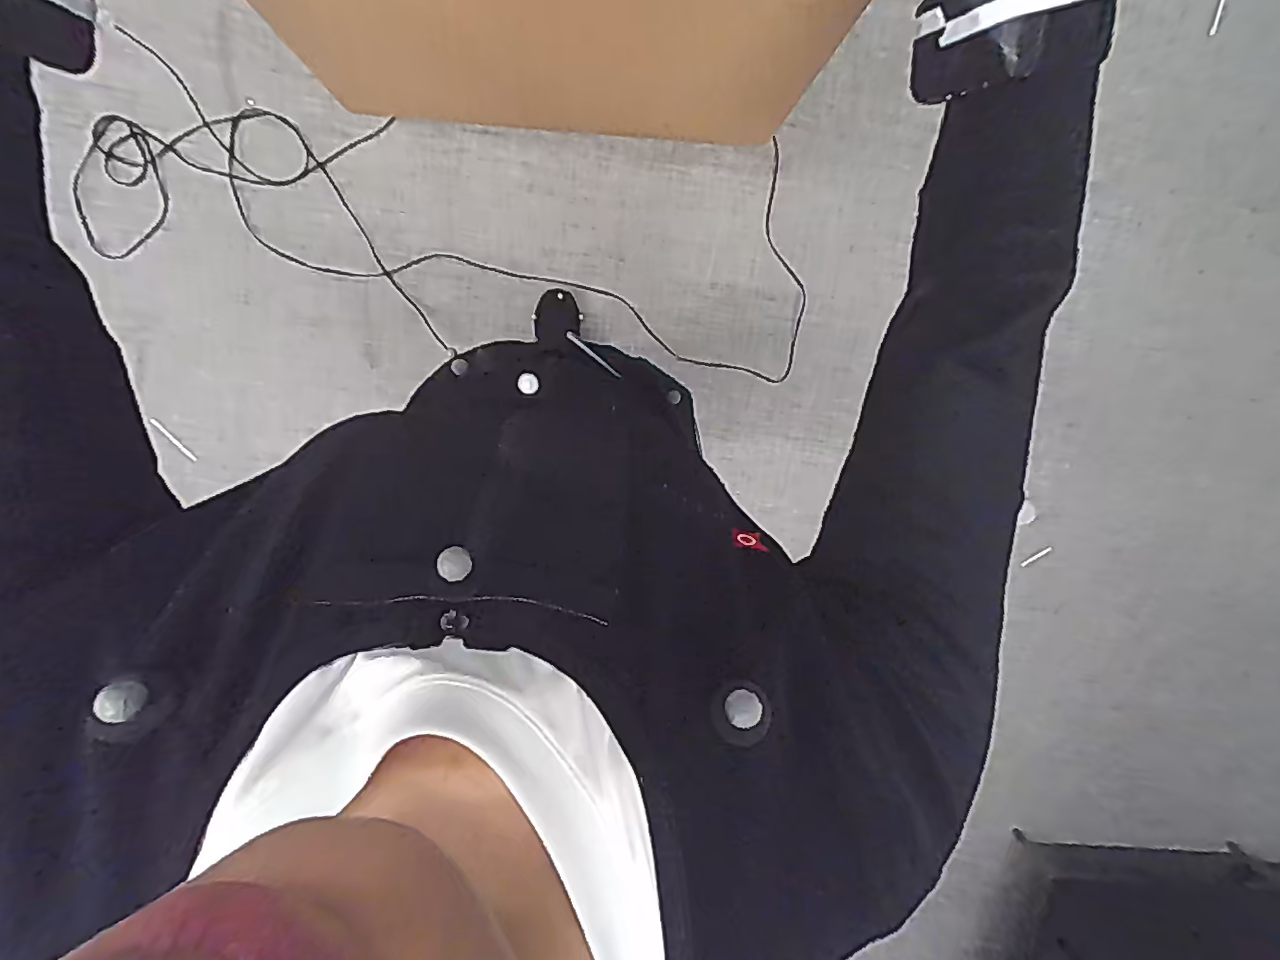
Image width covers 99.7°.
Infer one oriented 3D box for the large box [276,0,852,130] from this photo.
[{"bbox_3d":[-0.053,-0.473,0.353,0.408,0.320,0.320,1,101,-6],"label":"large box"}]
